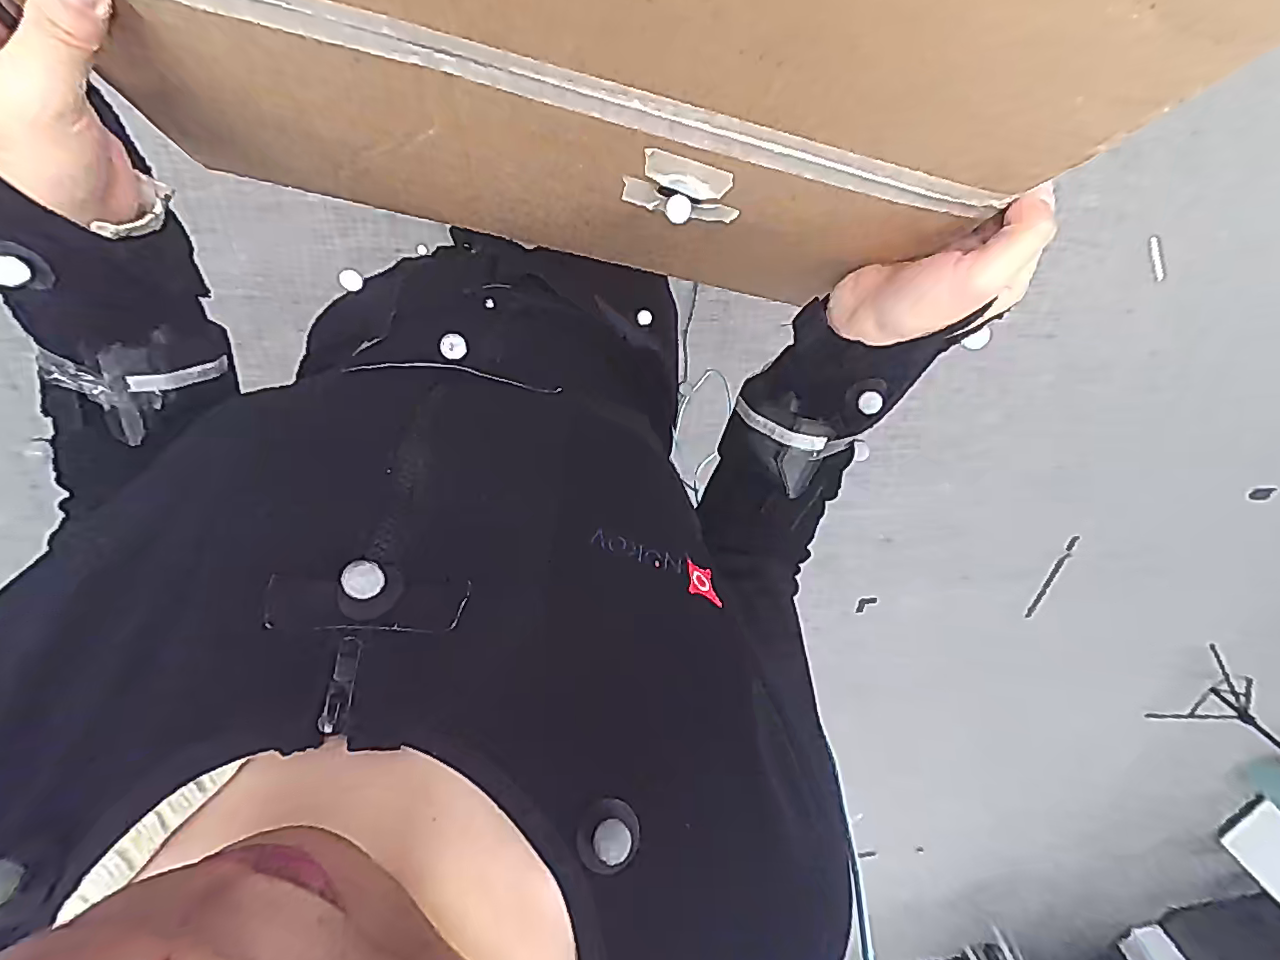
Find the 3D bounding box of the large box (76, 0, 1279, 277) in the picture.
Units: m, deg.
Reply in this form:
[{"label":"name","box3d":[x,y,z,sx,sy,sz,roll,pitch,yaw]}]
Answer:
[{"label":"large box","box3d":[0.002,-0.313,0.183,0.408,0.320,0.320,9,89,-10]}]
